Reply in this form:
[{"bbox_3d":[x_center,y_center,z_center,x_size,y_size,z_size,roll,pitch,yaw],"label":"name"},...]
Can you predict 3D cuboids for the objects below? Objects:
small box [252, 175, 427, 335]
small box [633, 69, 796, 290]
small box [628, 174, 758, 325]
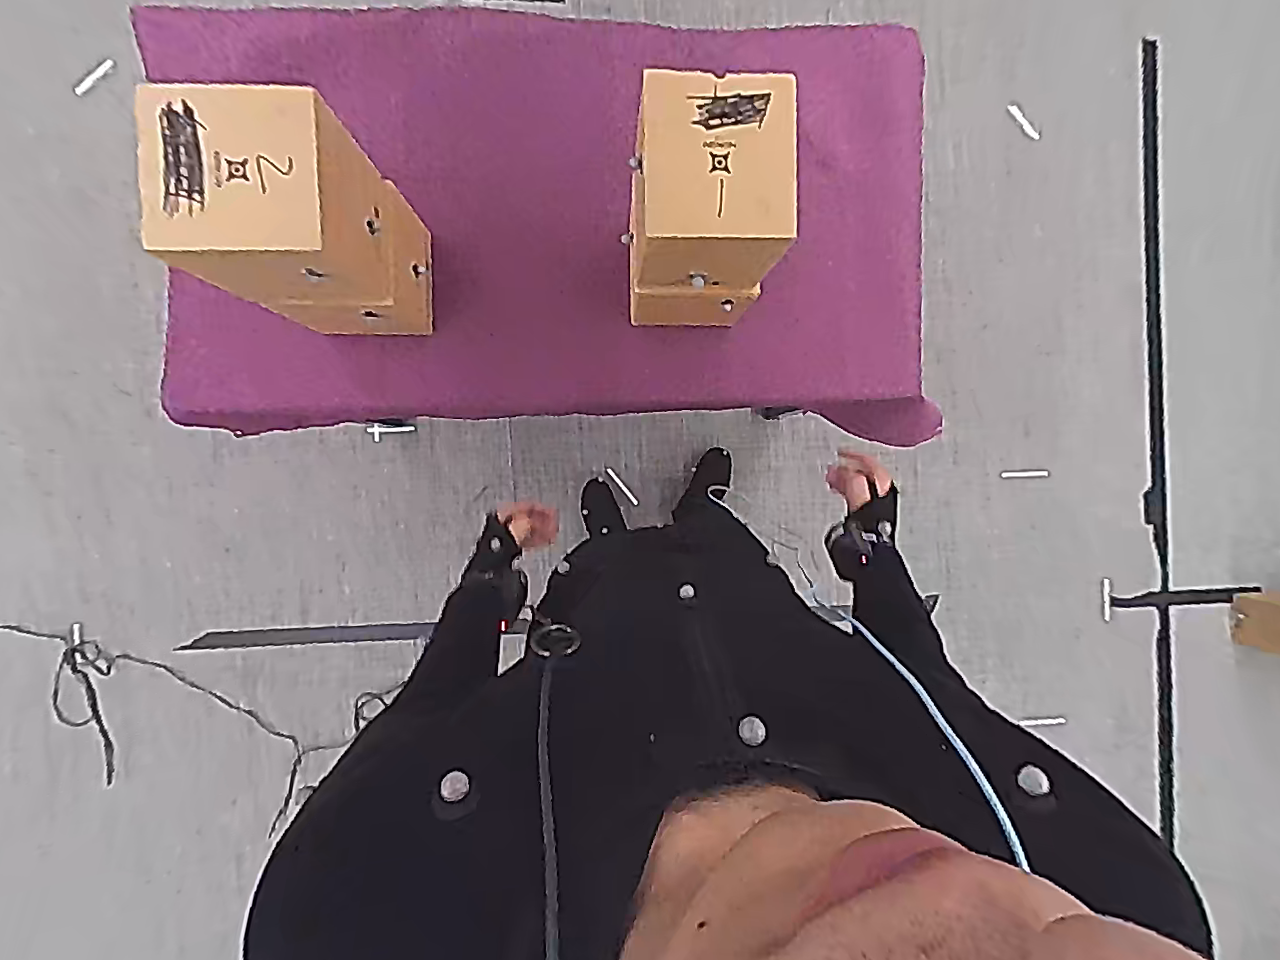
[{"bbox_3d":[-0.417,-0.312,0.781,0.179,0.176,0.168,0,92,-4],"label":"small box"},{"bbox_3d":[0.078,-0.343,0.649,0.168,0.176,0.179,-1,92,-4],"label":"small box"},{"bbox_3d":[0.070,-0.336,0.814,0.179,0.176,0.168,-1,91,-4],"label":"small box"}]
